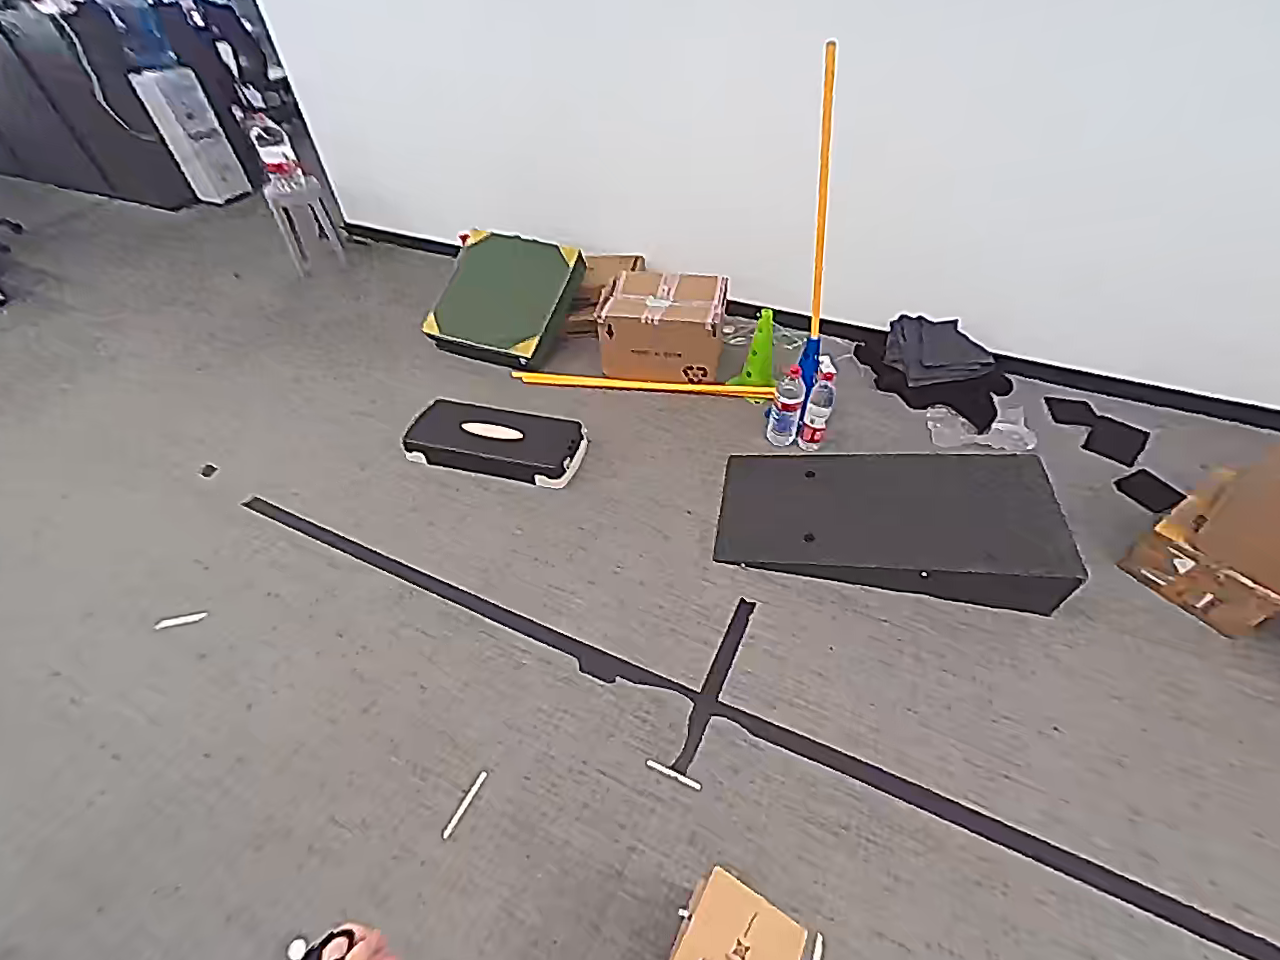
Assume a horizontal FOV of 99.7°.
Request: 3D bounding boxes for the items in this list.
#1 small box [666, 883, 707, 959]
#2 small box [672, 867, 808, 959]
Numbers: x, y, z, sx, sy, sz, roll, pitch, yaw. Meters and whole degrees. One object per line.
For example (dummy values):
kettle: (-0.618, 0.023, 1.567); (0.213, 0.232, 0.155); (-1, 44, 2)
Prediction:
small box: (0.151, 0.893, 1.002); (0.179, 0.176, 0.168); (22, 50, 19)
small box: (0.150, 0.783, 0.878); (0.168, 0.176, 0.179); (25, 51, 23)
